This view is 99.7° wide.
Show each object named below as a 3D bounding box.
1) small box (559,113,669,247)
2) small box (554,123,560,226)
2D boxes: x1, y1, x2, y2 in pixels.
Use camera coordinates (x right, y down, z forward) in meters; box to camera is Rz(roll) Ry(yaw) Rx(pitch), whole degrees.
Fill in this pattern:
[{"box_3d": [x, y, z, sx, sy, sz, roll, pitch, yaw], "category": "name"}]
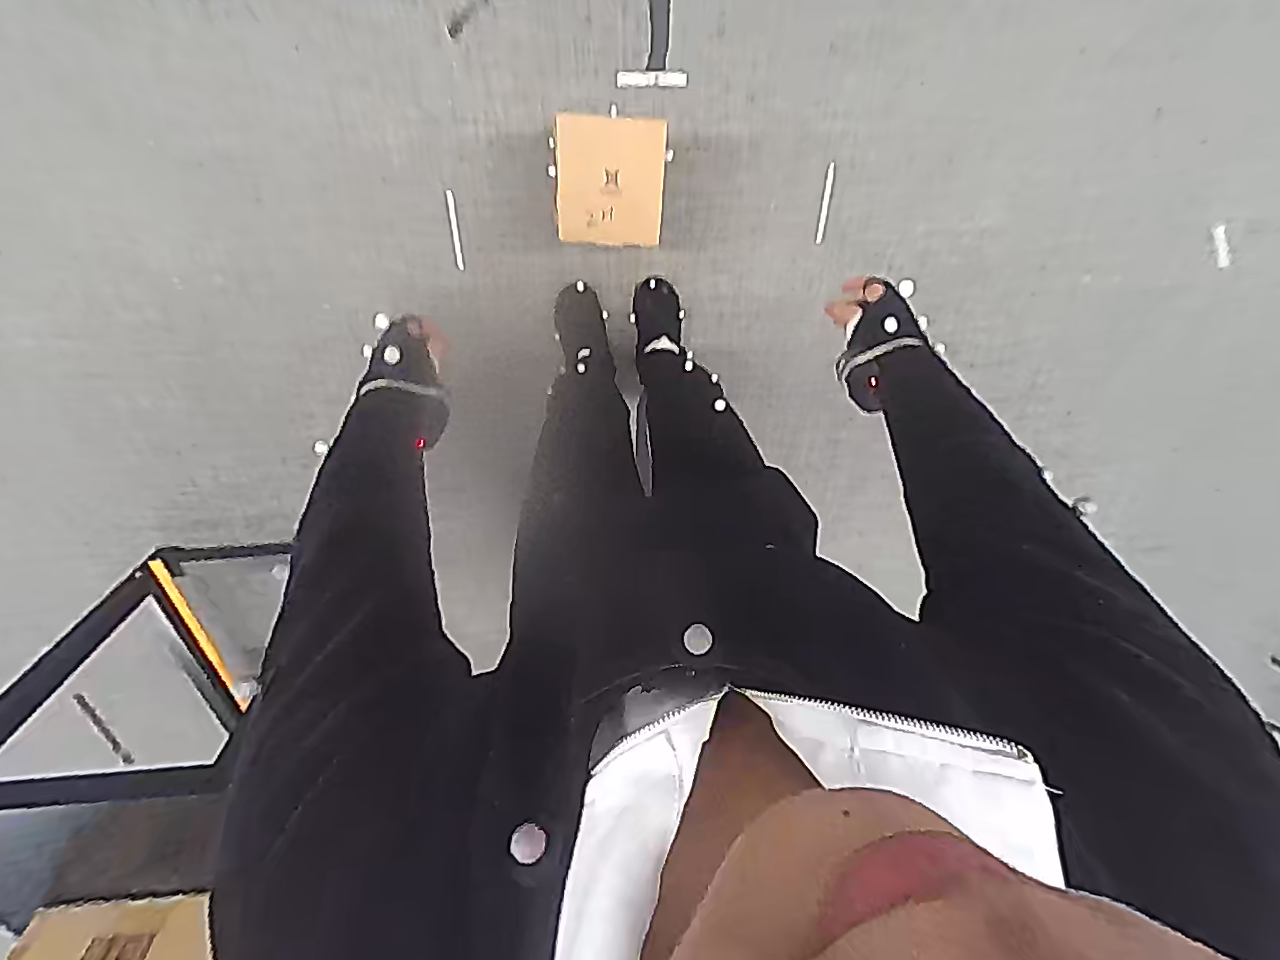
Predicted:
[{"box_3d": [-0.051, -0.502, 0.907, 0.168, 0.176, 0.179, 1, 122, -6], "category": "small box"}, {"box_3d": [-0.073, -0.585, 1.048, 0.179, 0.176, 0.168, 0, 122, -7], "category": "small box"}]
